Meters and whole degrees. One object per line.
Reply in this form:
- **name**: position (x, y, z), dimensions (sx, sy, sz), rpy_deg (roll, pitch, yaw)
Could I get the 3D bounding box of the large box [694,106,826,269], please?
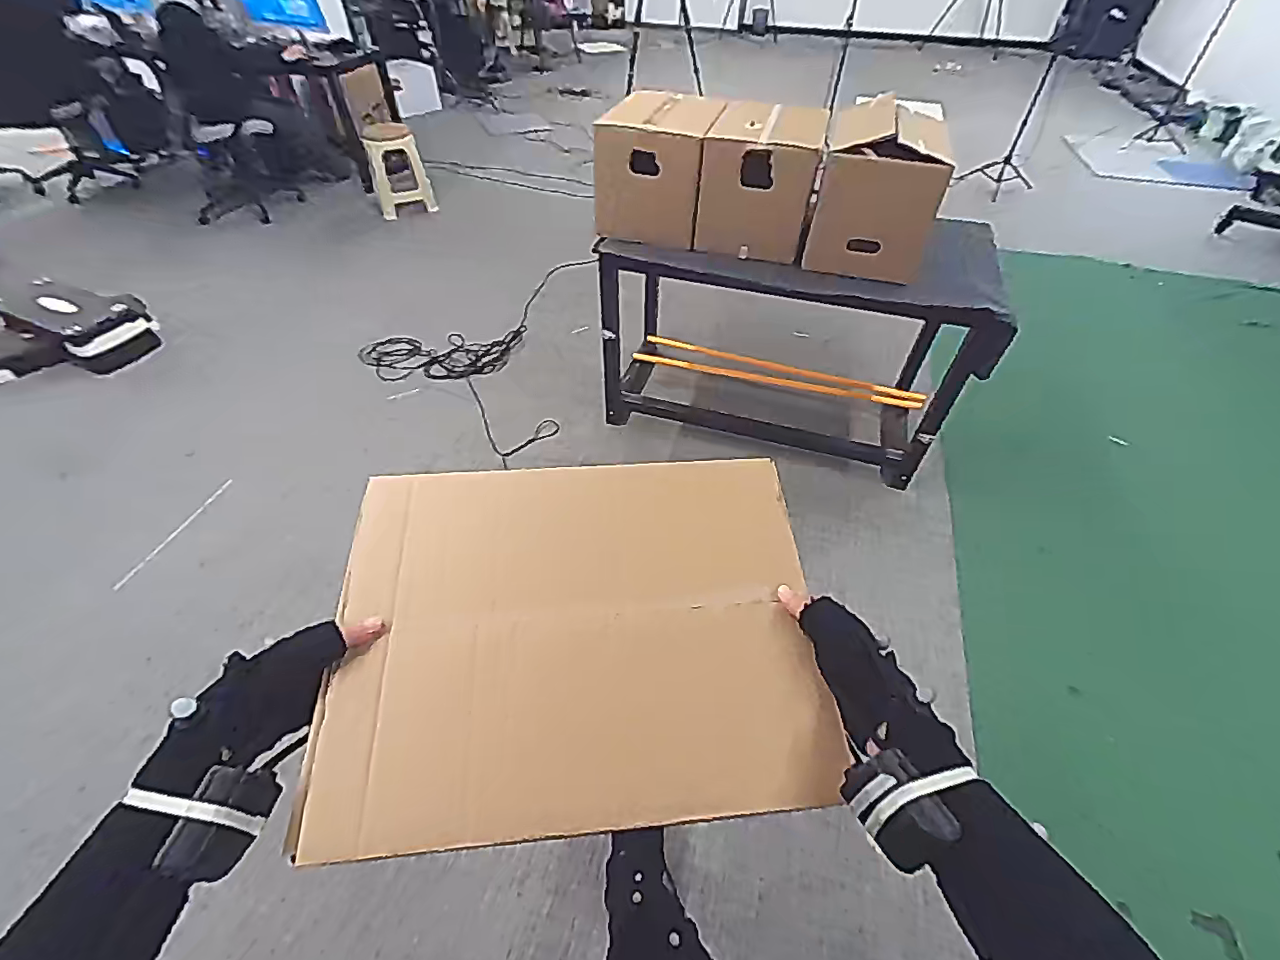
- **large box**: position (0.366, -0.903, 1.659), dimensions (0.320, 0.320, 0.408), rpy_deg (12, 49, 11)
